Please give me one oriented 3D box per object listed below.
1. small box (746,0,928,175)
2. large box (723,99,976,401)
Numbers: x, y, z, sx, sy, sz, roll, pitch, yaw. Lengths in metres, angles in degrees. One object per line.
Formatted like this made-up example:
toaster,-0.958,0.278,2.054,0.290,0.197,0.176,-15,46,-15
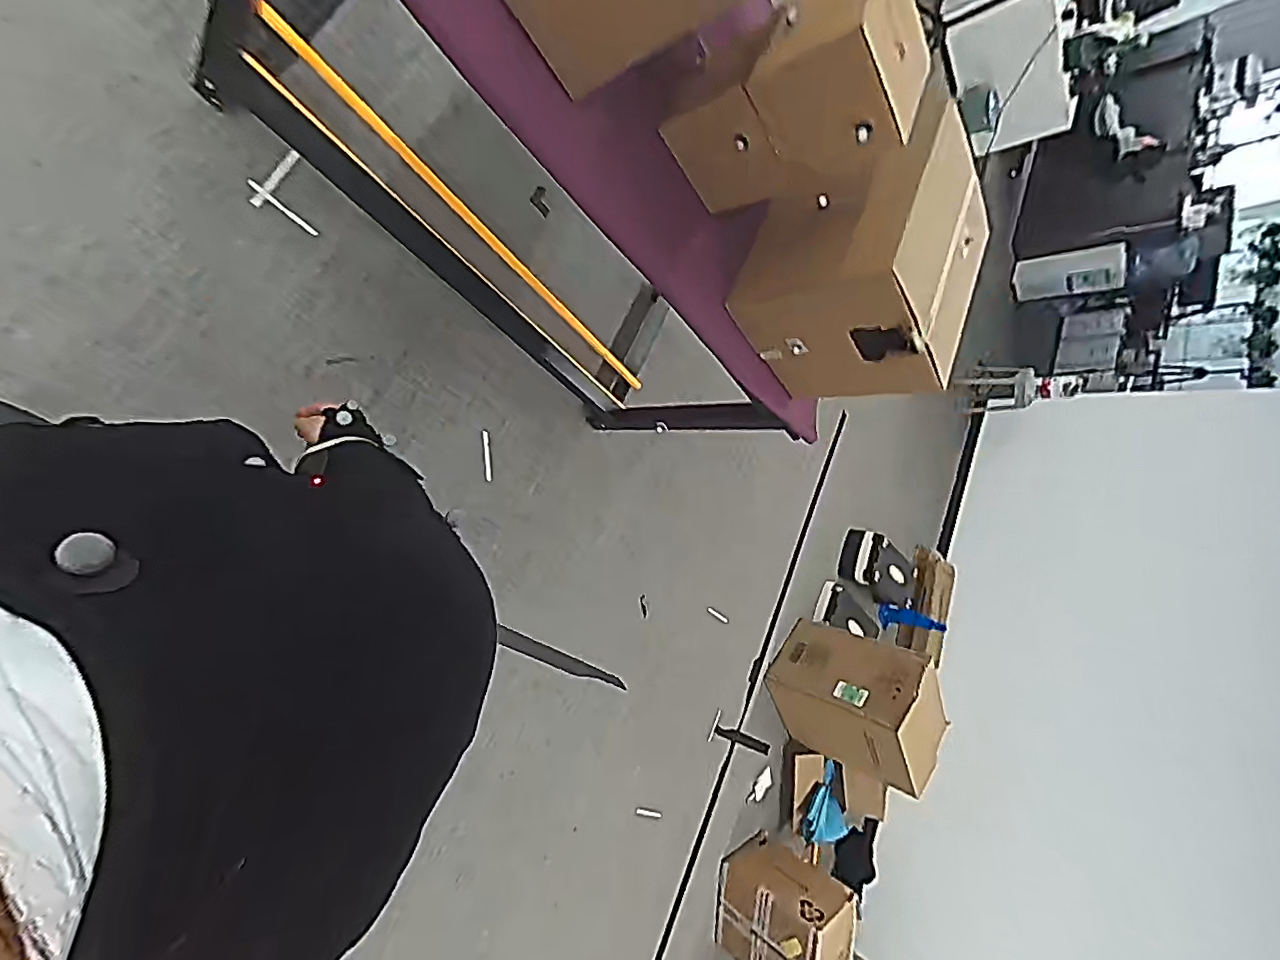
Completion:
small box,0.279,-0.567,0.764,0.179,0.176,0.168,36,69,-41
large box,0.415,-0.407,1.055,0.320,0.320,0.408,40,66,-40
